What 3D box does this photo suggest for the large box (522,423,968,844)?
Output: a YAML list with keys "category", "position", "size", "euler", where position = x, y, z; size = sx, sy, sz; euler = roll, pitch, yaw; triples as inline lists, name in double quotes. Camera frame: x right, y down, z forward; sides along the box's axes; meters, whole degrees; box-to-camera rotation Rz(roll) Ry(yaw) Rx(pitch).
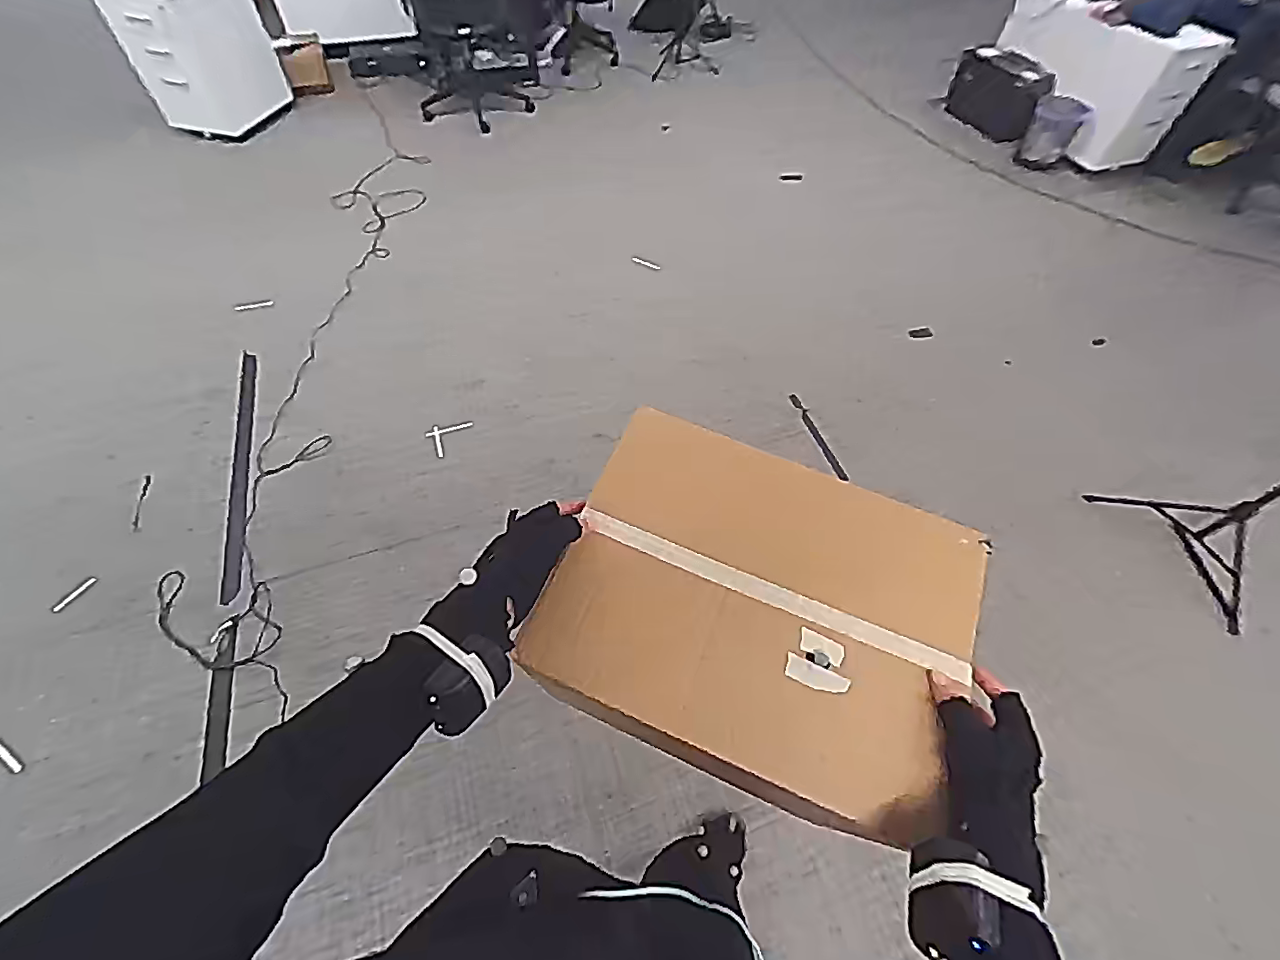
- category: "large box"
  position: [0.115, 0.190, 0.688]
  size: [0.408, 0.320, 0.320]
  euler: [22, 64, 8]
